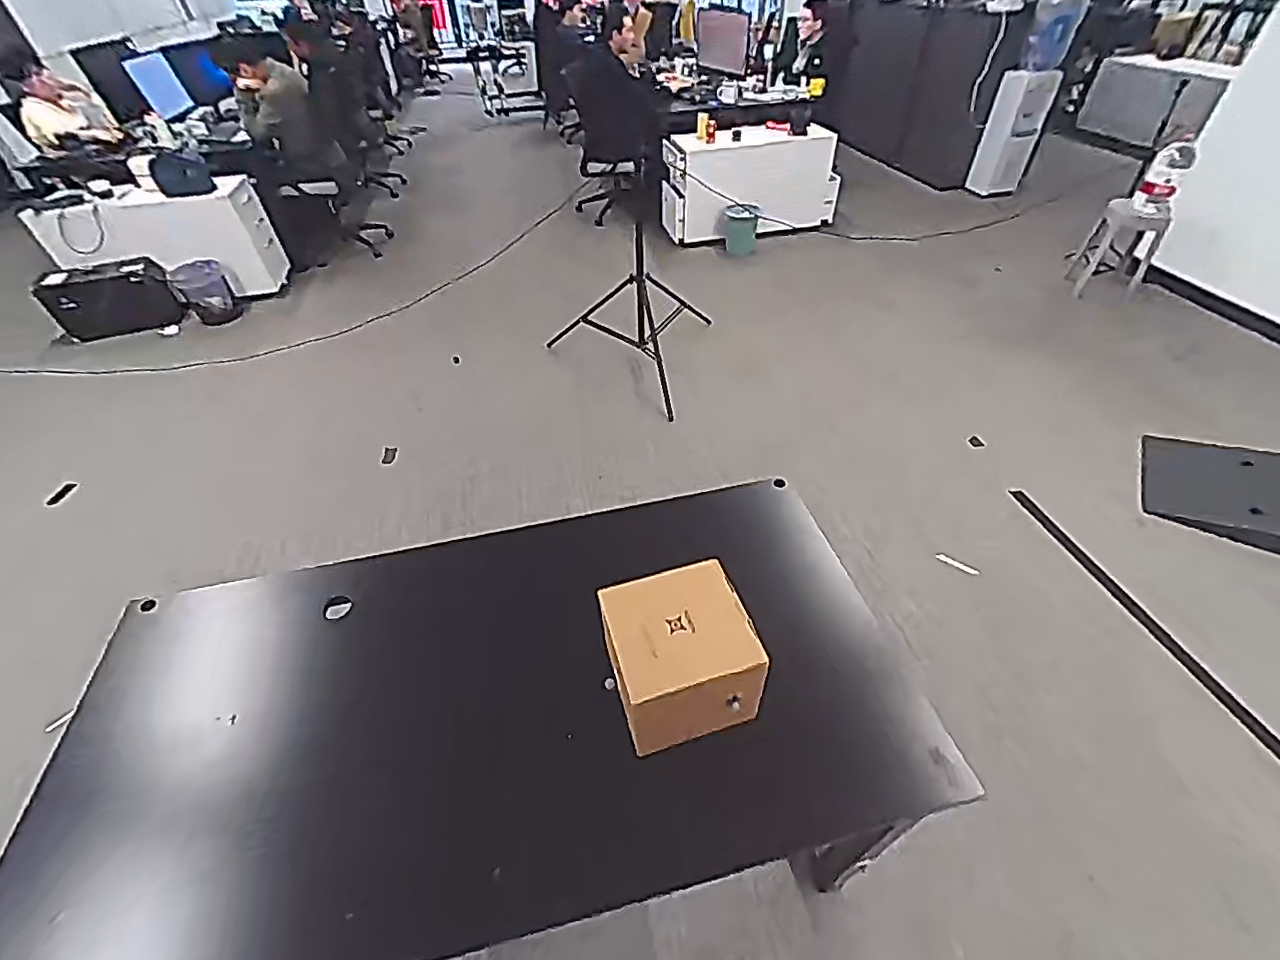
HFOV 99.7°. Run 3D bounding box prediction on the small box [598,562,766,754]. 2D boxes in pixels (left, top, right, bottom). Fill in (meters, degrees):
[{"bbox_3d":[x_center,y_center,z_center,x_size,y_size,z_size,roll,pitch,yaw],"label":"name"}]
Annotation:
[{"bbox_3d":[0.052,0.245,0.745,0.179,0.176,0.168,-15,44,-10],"label":"small box"}]
